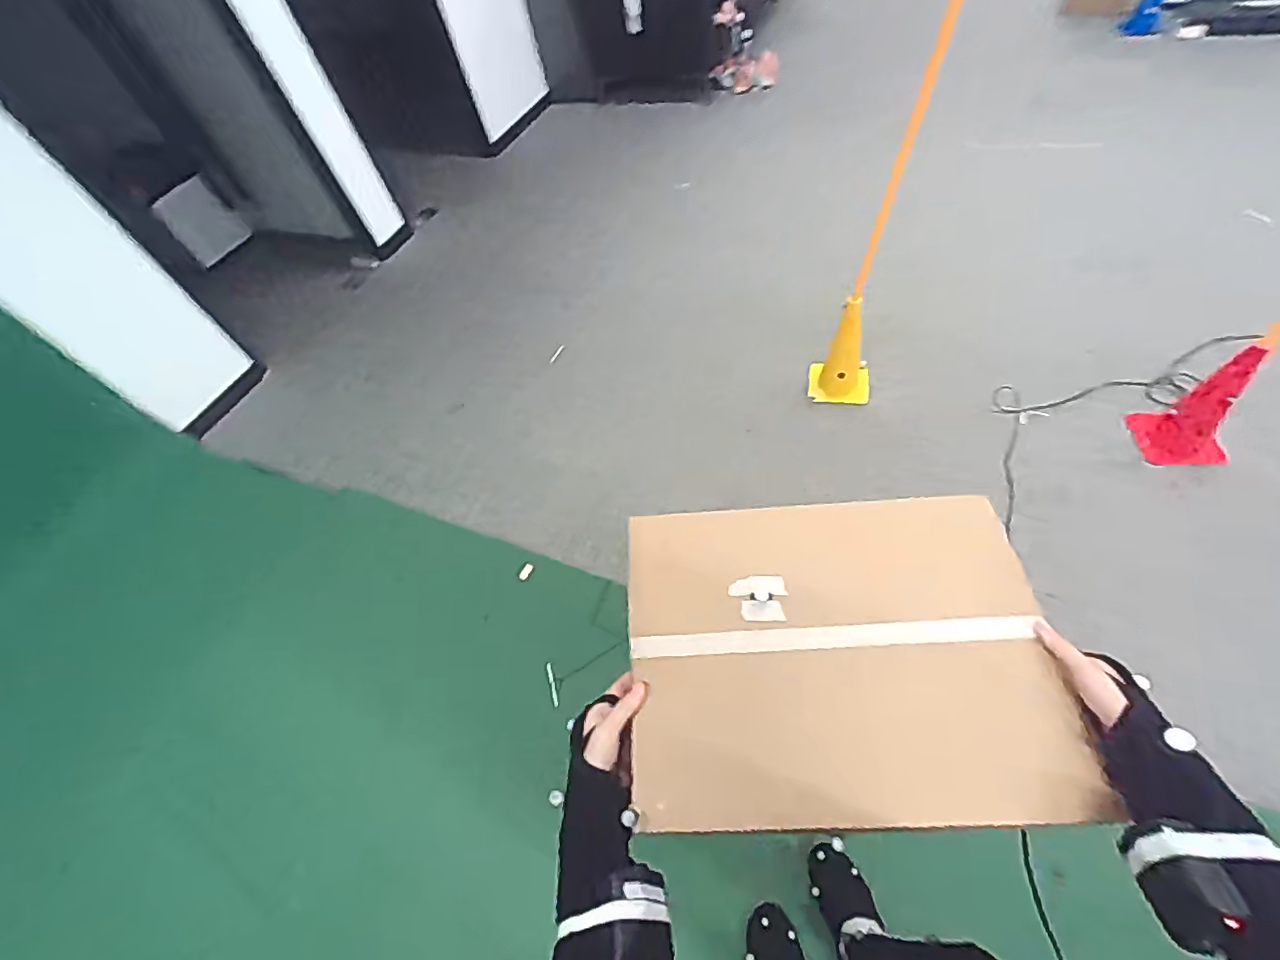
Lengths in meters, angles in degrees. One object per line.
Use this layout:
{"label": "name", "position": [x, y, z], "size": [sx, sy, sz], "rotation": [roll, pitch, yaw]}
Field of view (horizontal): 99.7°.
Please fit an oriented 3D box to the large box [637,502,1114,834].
{"label": "large box", "position": [0.215, 0.248, 0.667], "size": [0.408, 0.320, 0.320], "rotation": [-4, 55, 6]}
